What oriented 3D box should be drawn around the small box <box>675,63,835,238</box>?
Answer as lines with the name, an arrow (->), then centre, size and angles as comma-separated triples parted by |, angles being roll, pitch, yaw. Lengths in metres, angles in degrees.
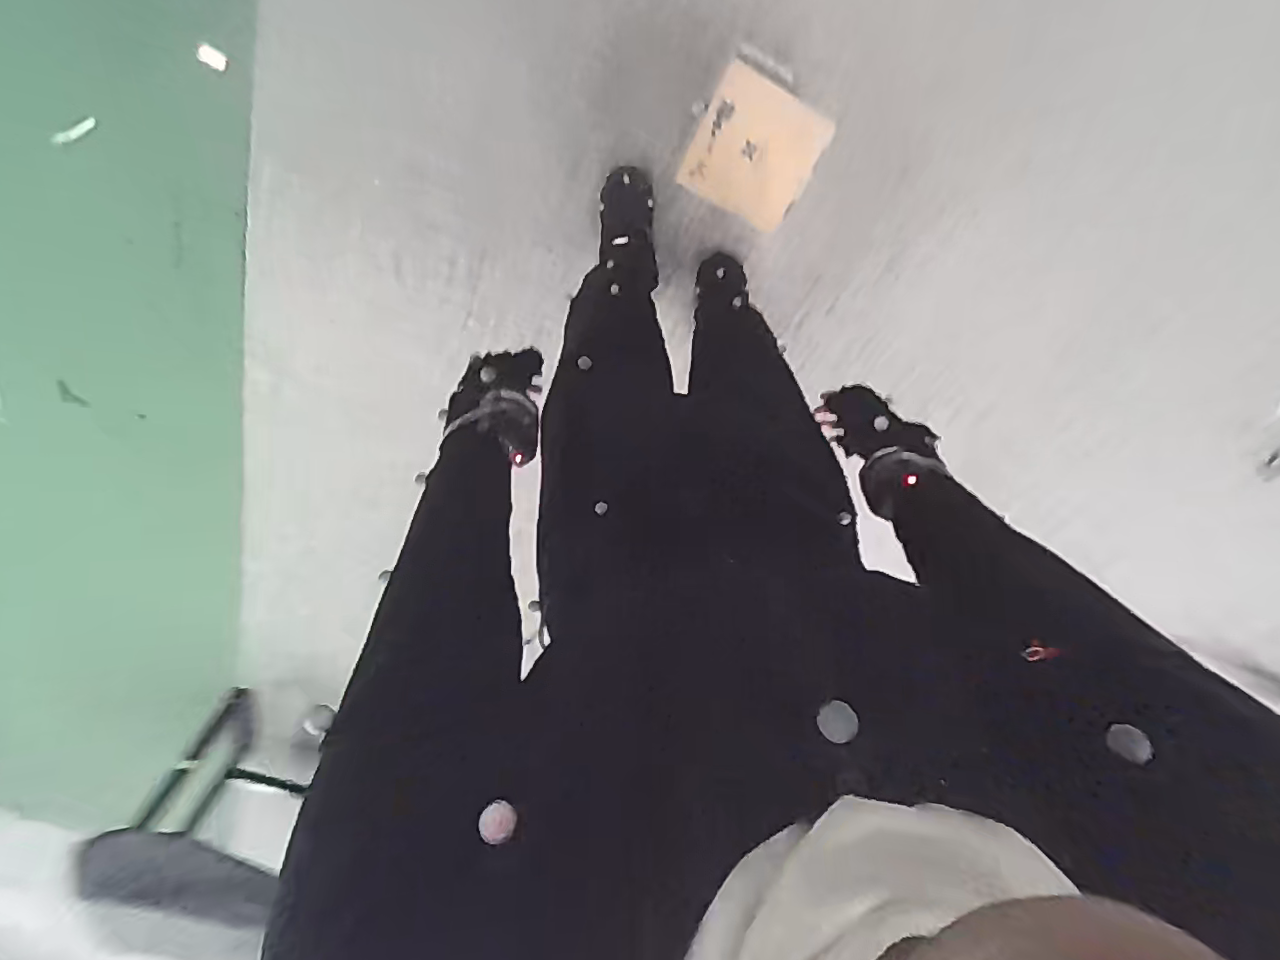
small box -> 0.171, -0.517, 0.851 | 0.179, 0.176, 0.168 | 26, 123, -13
